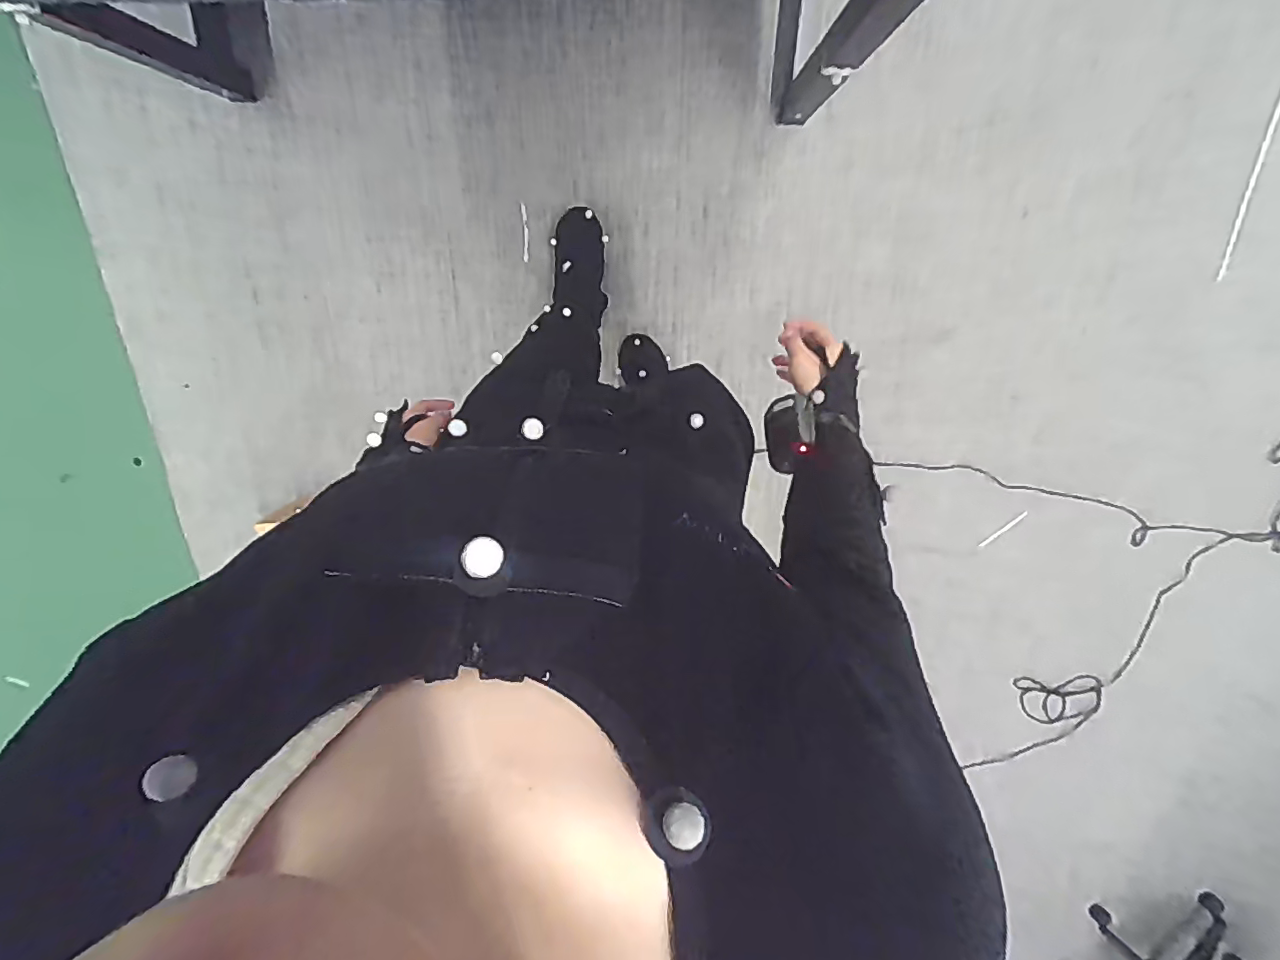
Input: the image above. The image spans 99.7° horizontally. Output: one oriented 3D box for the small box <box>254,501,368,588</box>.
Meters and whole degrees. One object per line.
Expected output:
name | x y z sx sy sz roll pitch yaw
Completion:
small box | -0.829 0.159 1.388 0.179 0.176 0.168 -4 109 4
